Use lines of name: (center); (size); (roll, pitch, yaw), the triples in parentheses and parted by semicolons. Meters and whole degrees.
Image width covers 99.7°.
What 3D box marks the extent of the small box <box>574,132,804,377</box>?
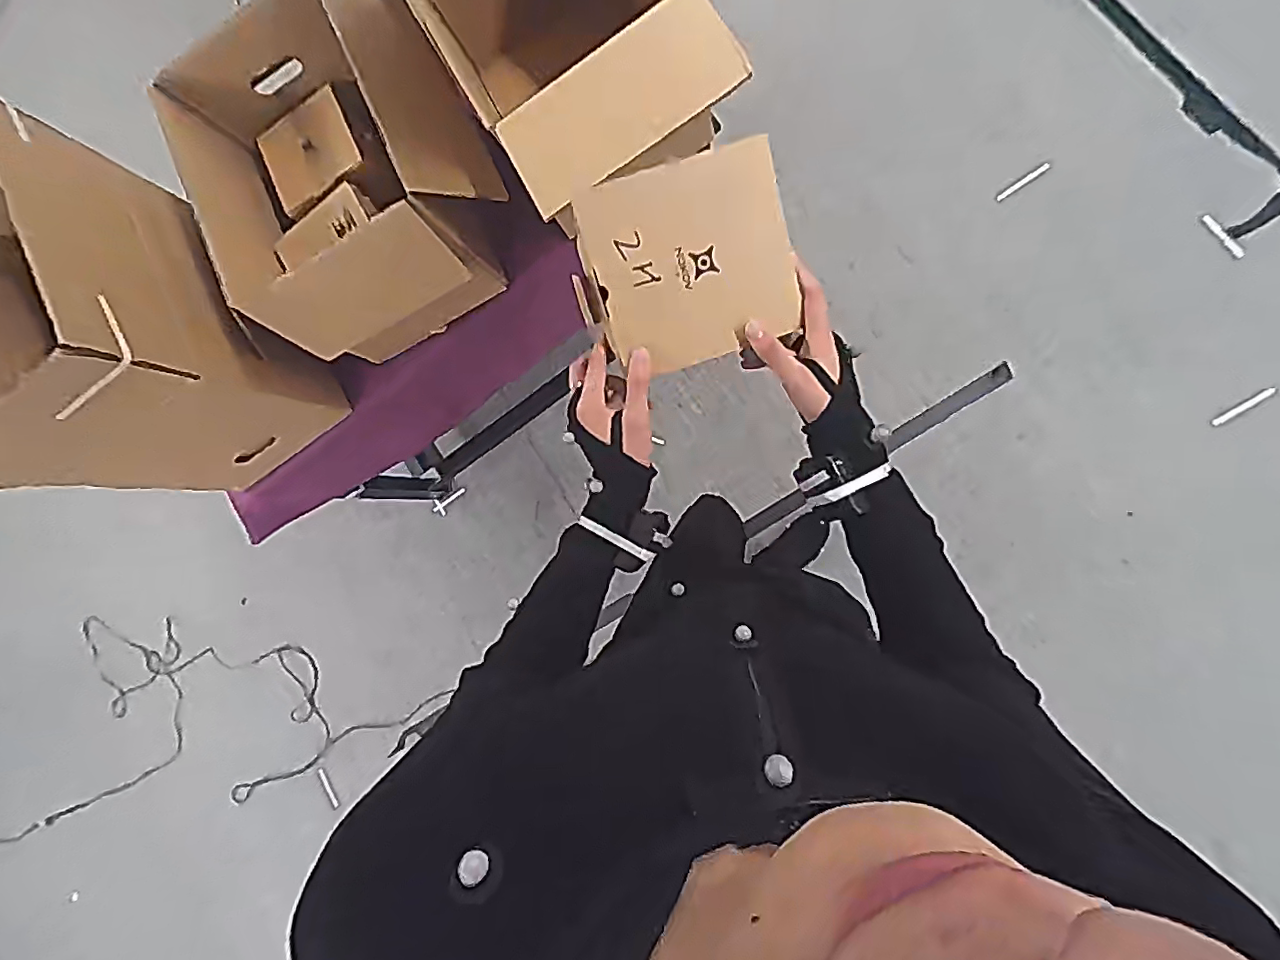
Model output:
small box: (0.040, -0.216, 0.547); (0.179, 0.176, 0.168); (-17, 108, 1)
